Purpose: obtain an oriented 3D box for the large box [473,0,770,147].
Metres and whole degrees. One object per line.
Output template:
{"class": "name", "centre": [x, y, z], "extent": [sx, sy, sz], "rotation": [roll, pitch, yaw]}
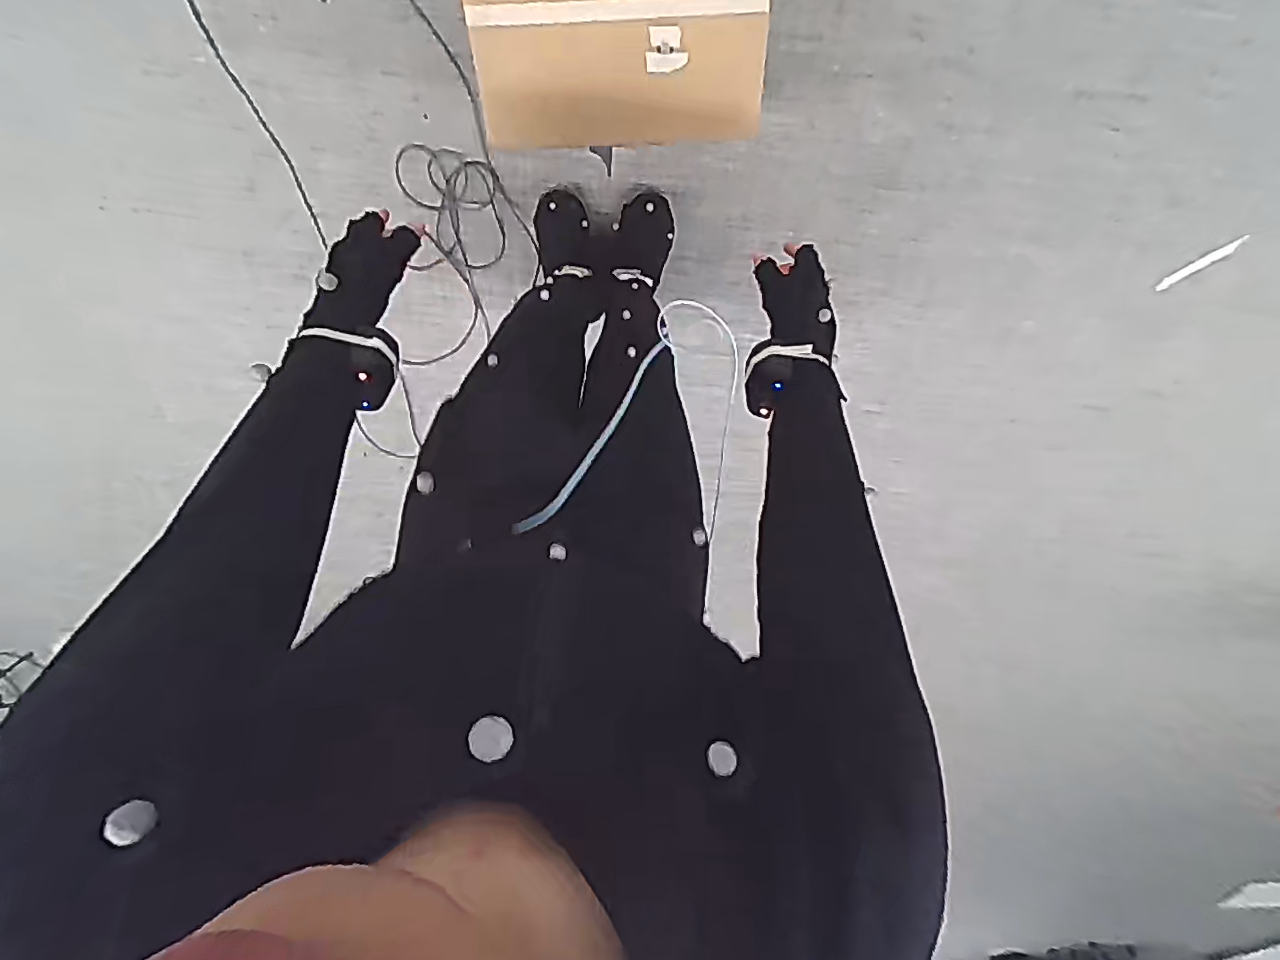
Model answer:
{"class": "large box", "centre": [-0.025, -0.722, 0.835], "extent": [0.408, 0.320, 0.320], "rotation": [-1, 129, 2]}
